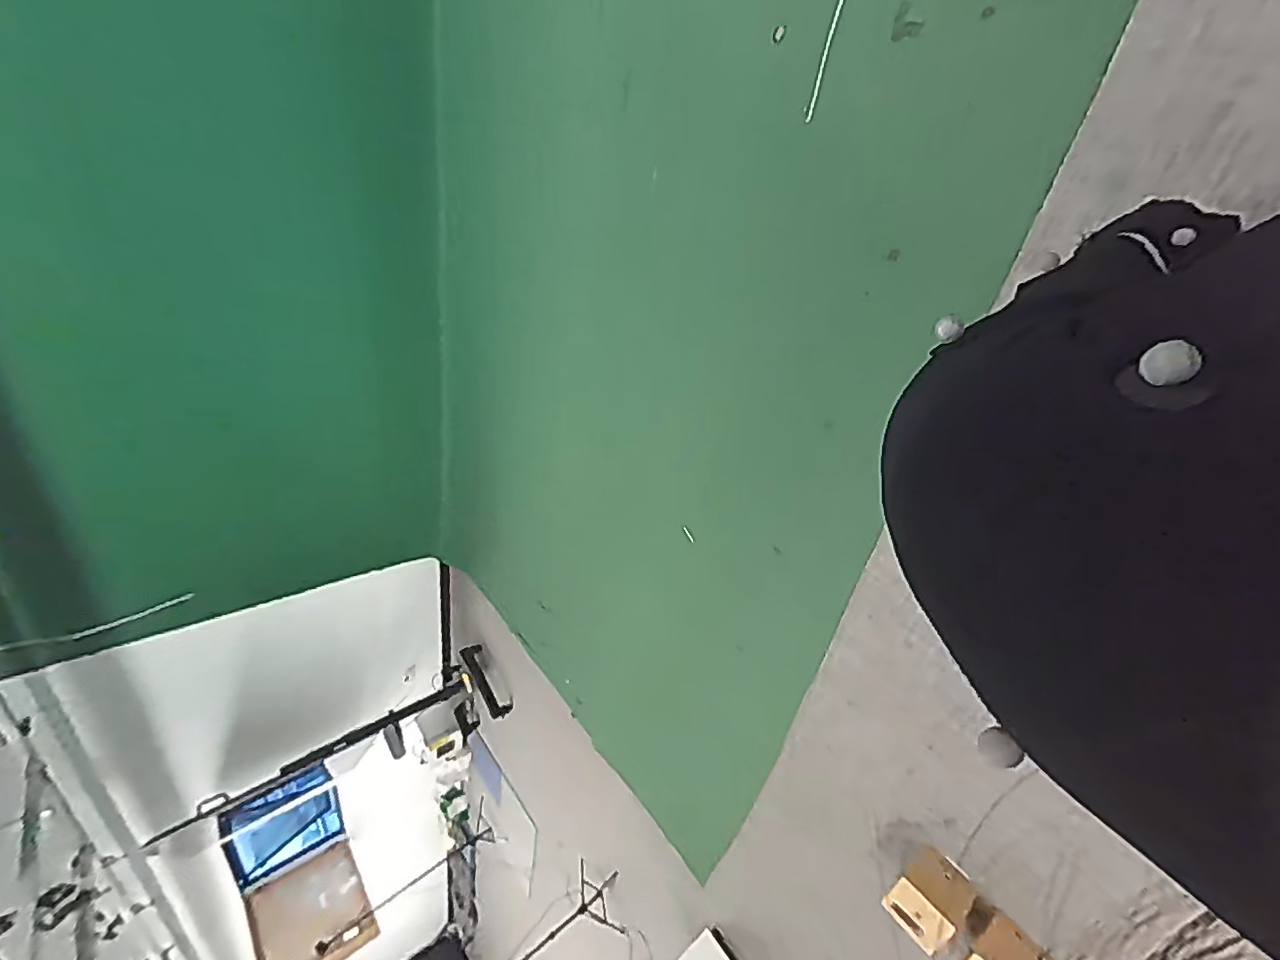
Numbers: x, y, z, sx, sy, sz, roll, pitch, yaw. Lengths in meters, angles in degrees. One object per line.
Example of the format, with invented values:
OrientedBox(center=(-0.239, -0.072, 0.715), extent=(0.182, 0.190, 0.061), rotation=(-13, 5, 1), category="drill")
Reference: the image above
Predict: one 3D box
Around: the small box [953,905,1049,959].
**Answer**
OrientedBox(center=(1.008, 1.354, 1.514), extent=(0.168, 0.176, 0.179), rotation=(36, 128, 37), category="small box")
